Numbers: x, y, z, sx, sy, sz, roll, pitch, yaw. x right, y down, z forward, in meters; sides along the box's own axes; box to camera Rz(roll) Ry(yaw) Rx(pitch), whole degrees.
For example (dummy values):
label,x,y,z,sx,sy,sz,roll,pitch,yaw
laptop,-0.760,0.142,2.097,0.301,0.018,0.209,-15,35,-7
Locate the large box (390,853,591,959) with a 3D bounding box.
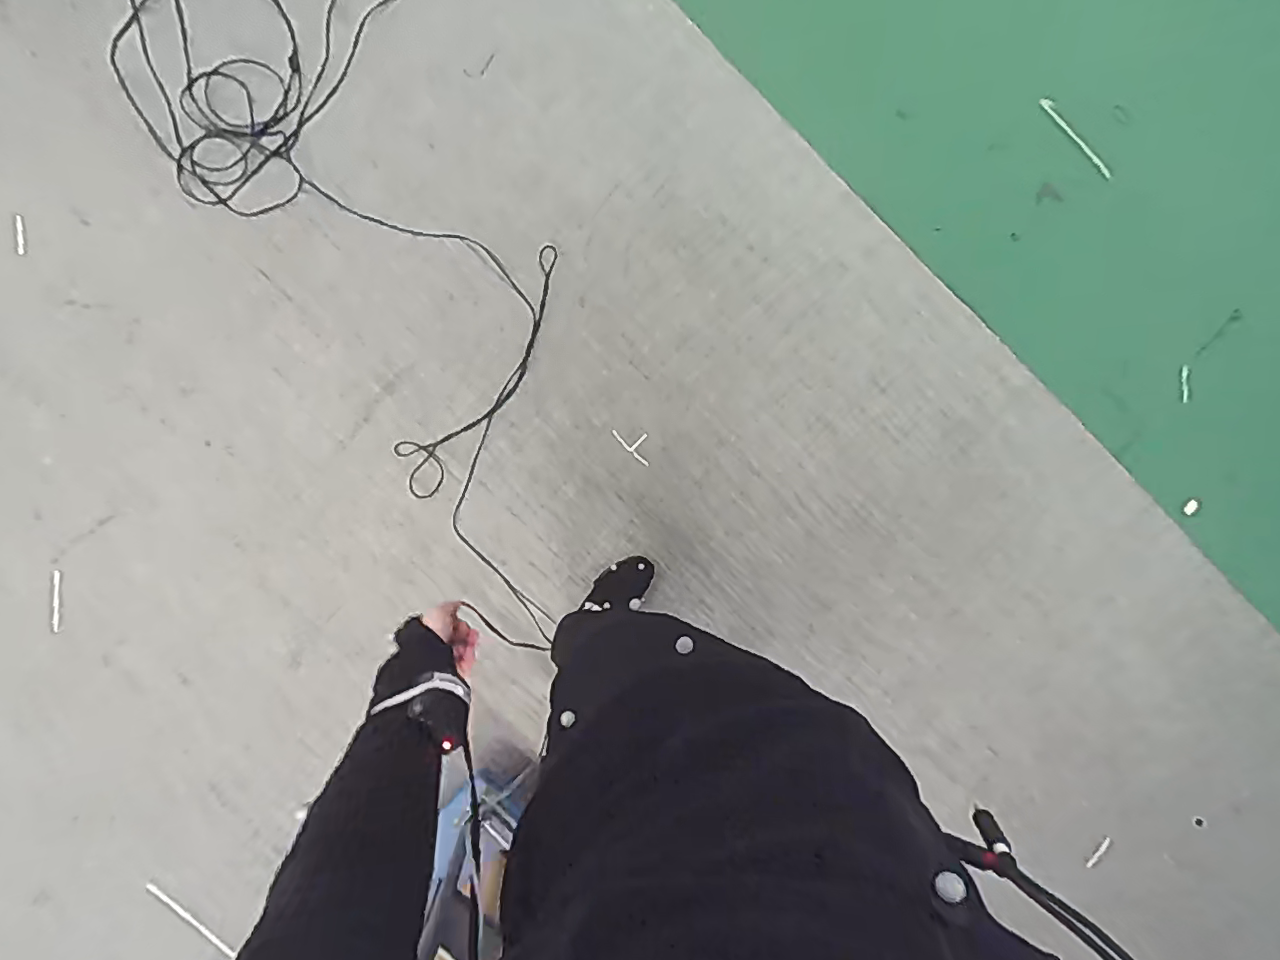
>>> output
label,x,y,z,sx,sy,sz,roll,pitch,yaw
large box,-0.332,1.044,1.018,0.408,0.320,0.320,-43,92,-7
